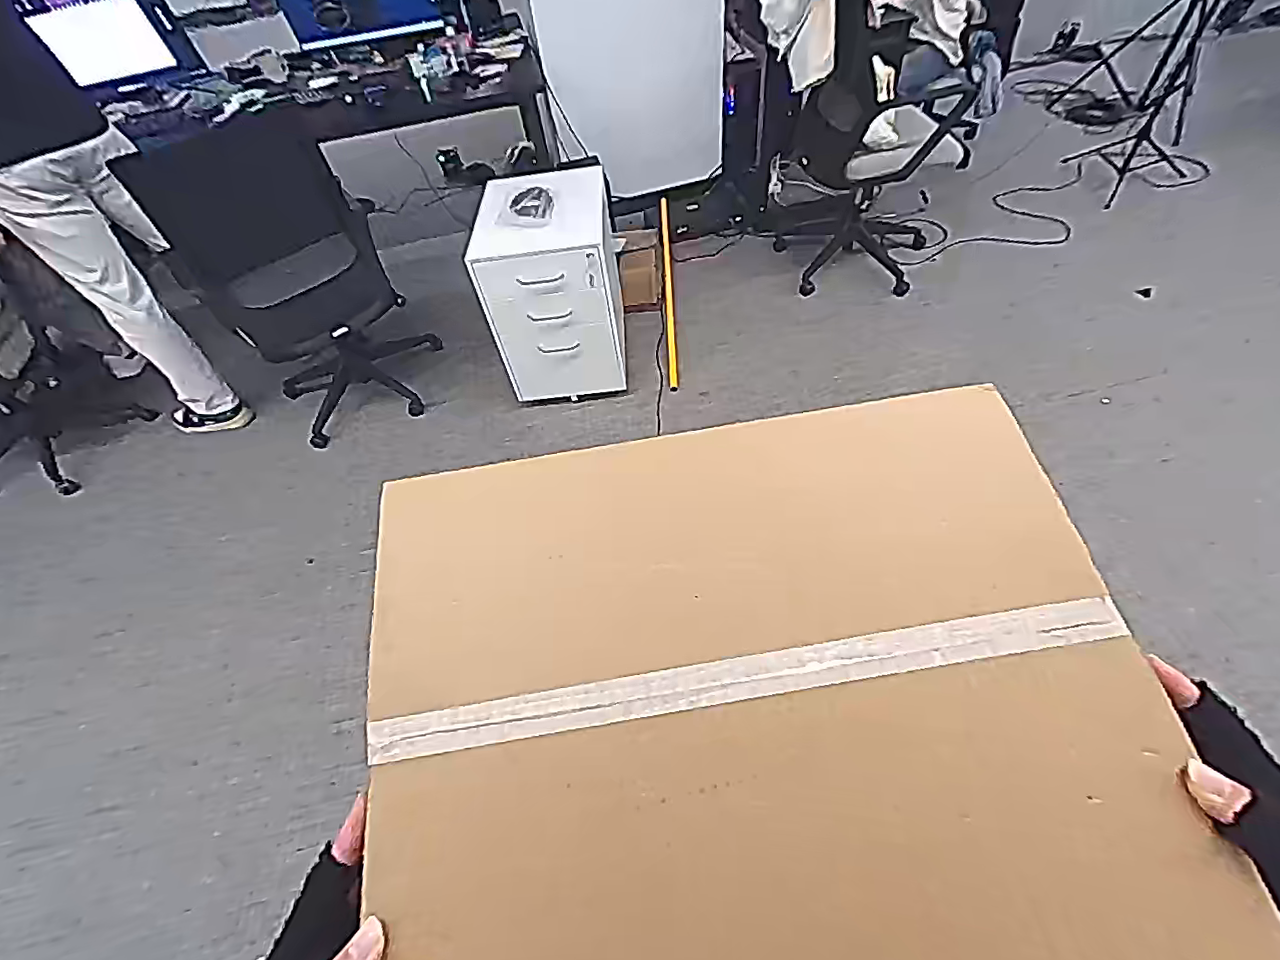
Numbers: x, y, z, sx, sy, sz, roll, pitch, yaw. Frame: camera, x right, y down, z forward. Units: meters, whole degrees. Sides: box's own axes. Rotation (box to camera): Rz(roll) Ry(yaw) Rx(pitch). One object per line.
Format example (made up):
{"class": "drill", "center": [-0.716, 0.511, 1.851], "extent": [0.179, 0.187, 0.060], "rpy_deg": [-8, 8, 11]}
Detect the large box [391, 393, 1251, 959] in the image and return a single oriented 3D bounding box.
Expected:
{"class": "large box", "center": [0.068, 0.174, 0.439], "extent": [0.408, 0.320, 0.320], "rpy_deg": [-10, 65, 0]}
